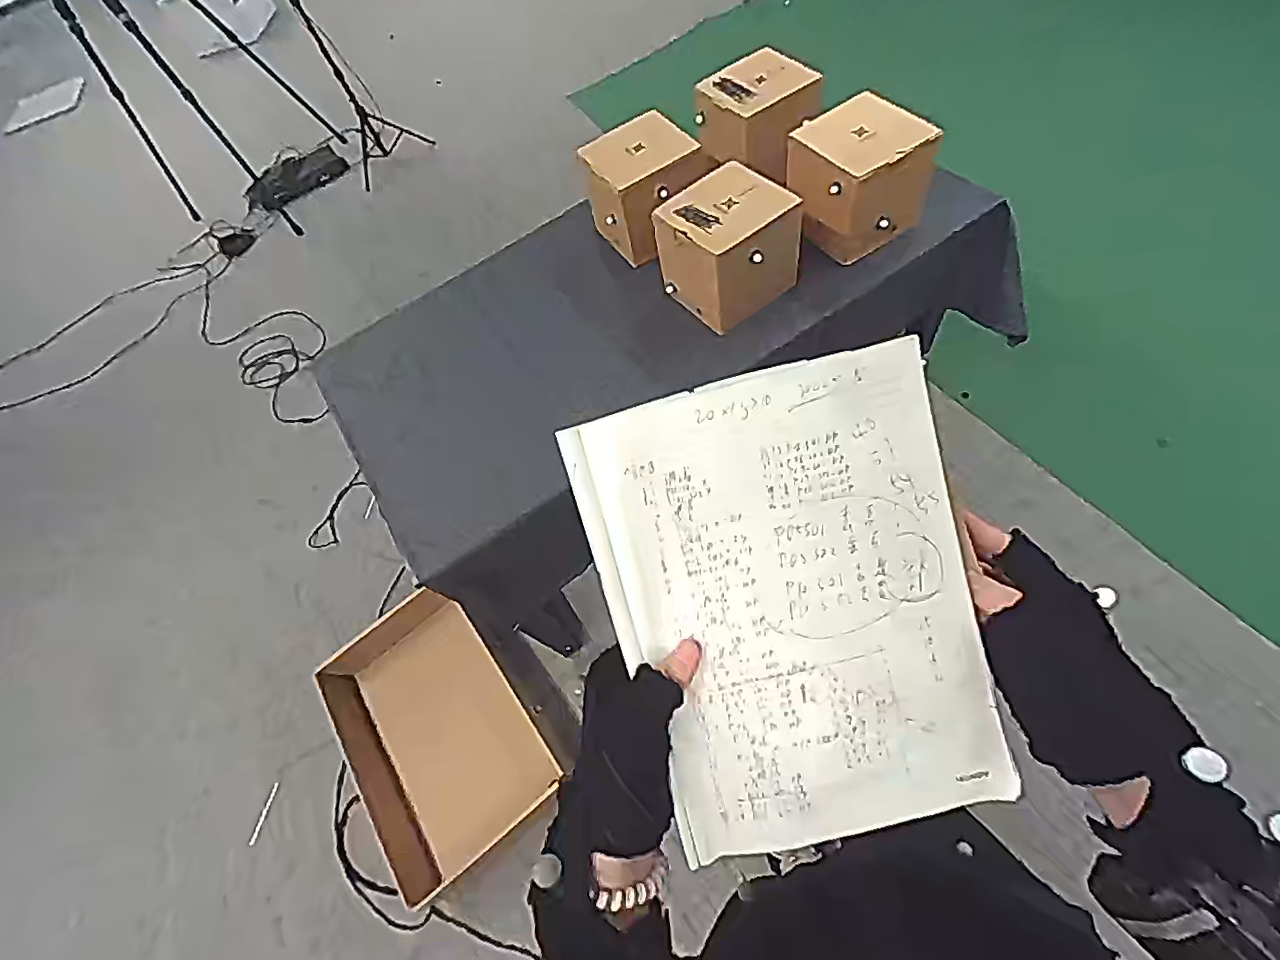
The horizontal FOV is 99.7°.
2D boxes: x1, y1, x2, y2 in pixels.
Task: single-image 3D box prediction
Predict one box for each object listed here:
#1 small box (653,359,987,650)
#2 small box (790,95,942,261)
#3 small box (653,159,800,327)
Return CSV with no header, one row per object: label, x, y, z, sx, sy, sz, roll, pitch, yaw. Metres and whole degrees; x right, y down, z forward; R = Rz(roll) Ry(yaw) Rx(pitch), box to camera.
small box,0.113,0.031,0.412,0.179,0.176,0.168,-9,76,3
small box,0.375,-0.522,0.945,0.168,0.176,0.179,-31,60,-6
small box,0.148,-0.395,0.917,0.179,0.176,0.168,-36,61,-10
